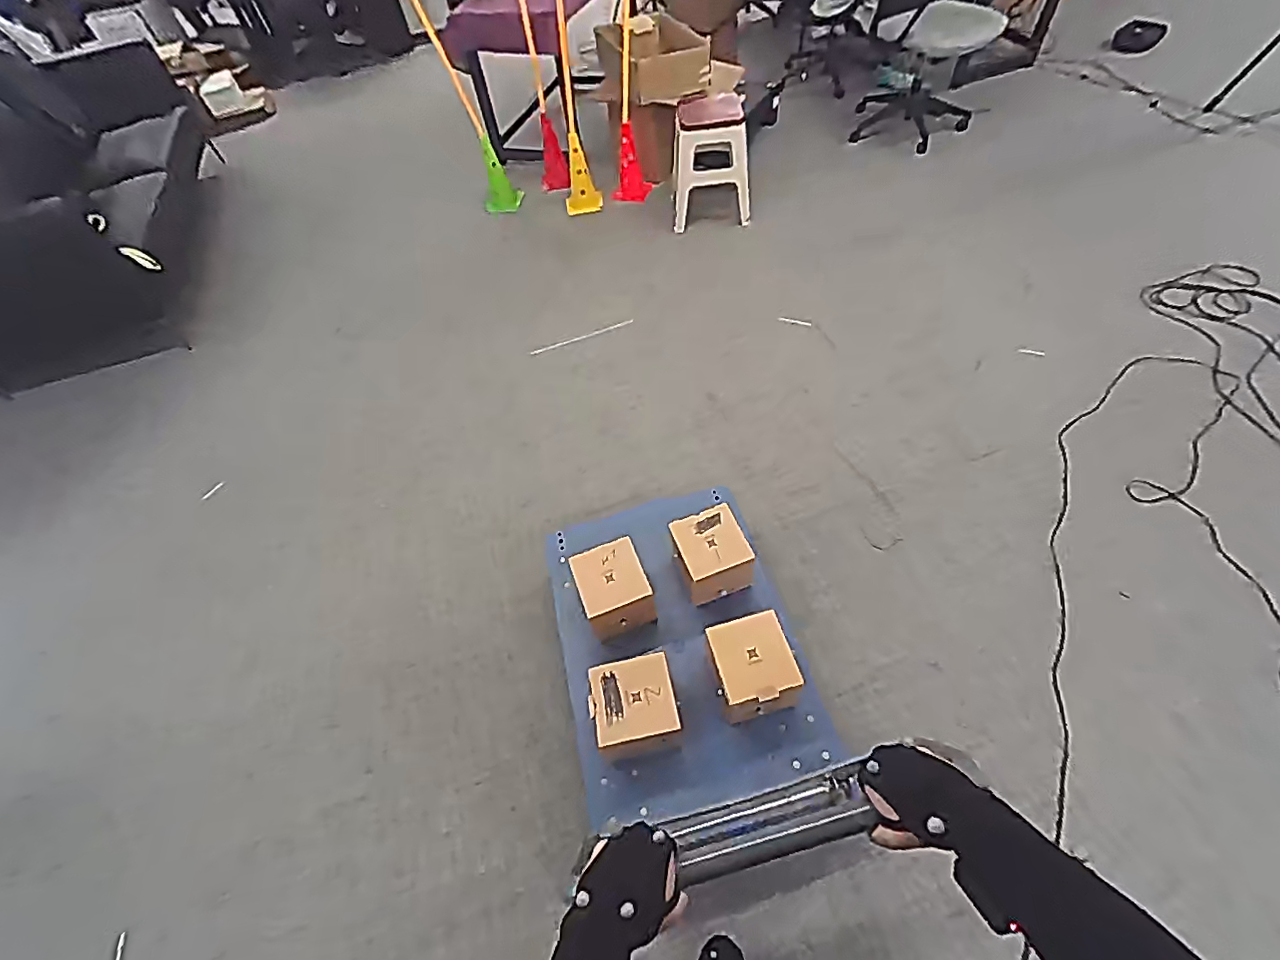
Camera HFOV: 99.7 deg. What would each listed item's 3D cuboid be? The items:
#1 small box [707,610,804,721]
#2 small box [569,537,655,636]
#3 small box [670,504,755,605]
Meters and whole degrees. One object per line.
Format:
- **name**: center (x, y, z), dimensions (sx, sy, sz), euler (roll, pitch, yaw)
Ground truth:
- **small box**: center (0.255, 0.430, 1.246), dimensions (0.168, 0.176, 0.179), euler (-15, 55, -4)
- **small box**: center (-0.066, 0.281, 1.387), dimensions (0.168, 0.176, 0.179), euler (-19, 55, -8)
- **small box**: center (0.185, 0.198, 1.416), dimensions (0.168, 0.176, 0.179), euler (-20, 56, -6)
